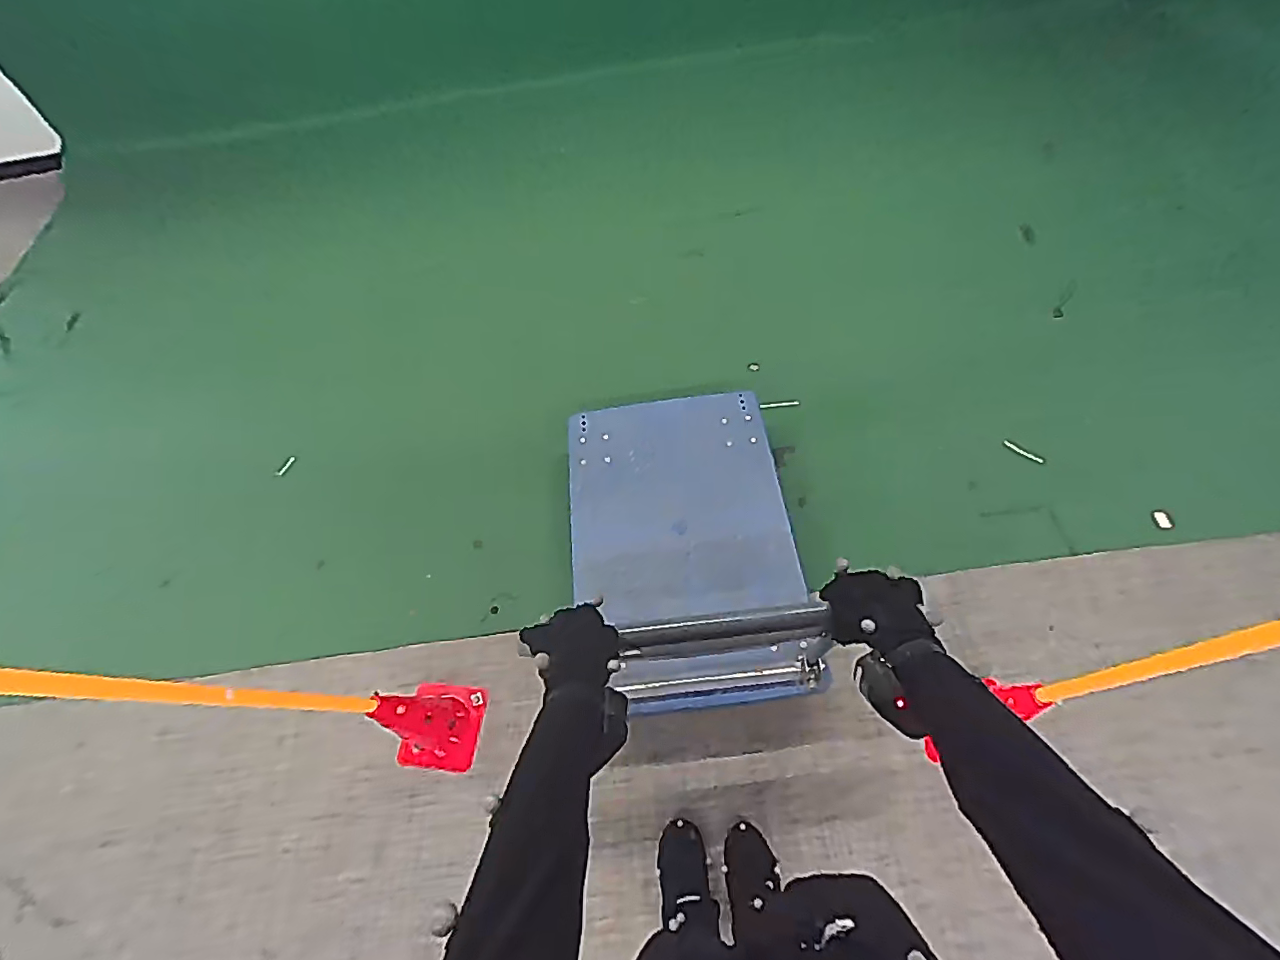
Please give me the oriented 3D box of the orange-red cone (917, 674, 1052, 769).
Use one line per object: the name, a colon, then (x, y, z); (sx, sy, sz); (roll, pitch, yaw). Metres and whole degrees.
orange-red cone: (0.758, 0.487, 1.144); (0.198, 0.360, 0.199); (2, 60, 8)
